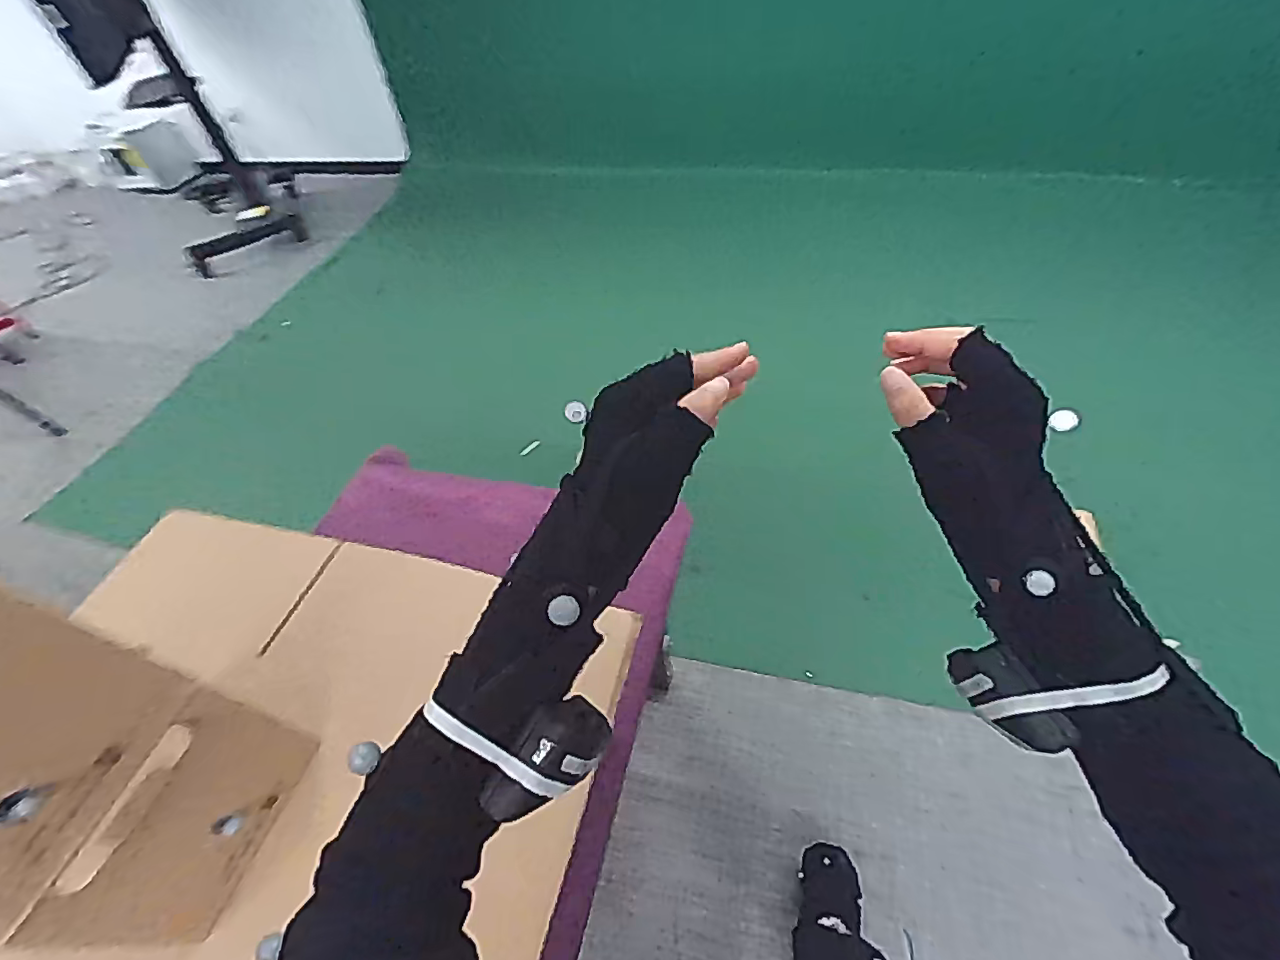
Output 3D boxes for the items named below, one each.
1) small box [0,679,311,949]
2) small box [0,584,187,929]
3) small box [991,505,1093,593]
[{"bbox_3d":[-0.430,0.257,0.447,0.179,0.176,0.168,9,53,14],"label":"small box"},{"bbox_3d":[-0.447,0.154,0.322,0.179,0.176,0.168,7,52,13],"label":"small box"},{"bbox_3d":[1.123,0.198,1.525,0.168,0.176,0.179,8,54,12],"label":"small box"}]
